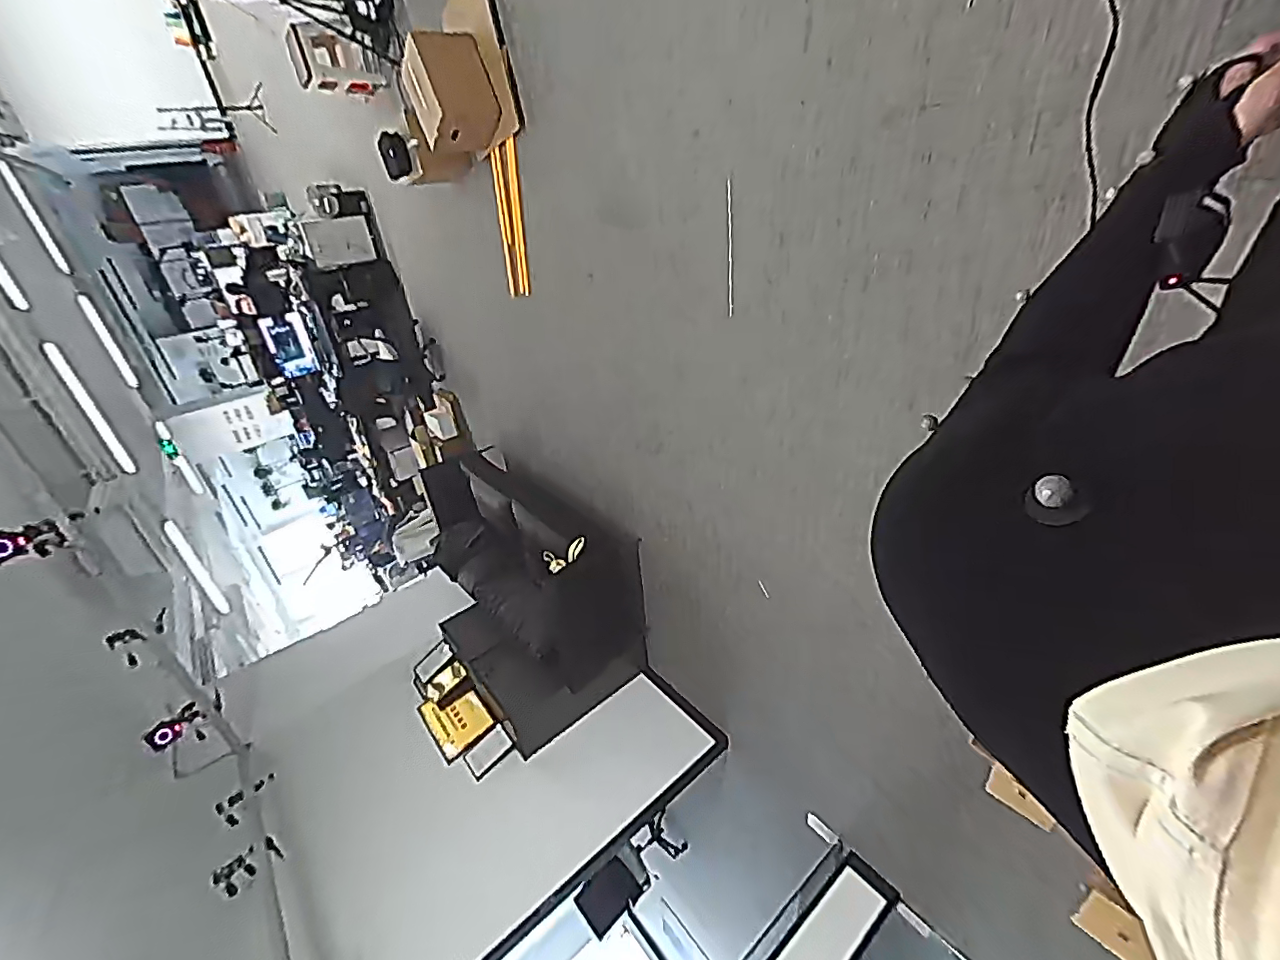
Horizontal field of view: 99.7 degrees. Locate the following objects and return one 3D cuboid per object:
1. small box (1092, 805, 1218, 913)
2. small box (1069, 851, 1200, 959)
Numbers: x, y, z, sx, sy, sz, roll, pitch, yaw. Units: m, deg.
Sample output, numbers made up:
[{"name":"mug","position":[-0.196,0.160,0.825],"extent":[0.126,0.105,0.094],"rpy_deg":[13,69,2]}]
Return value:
[{"name":"small box","position":[1.291,0.972,1.356],"extent":[0.168,0.176,0.179],"rpy_deg":[30,137,42]},{"name":"small box","position":[1.165,1.036,1.275],"extent":[0.168,0.176,0.179],"rpy_deg":[30,135,43]}]
